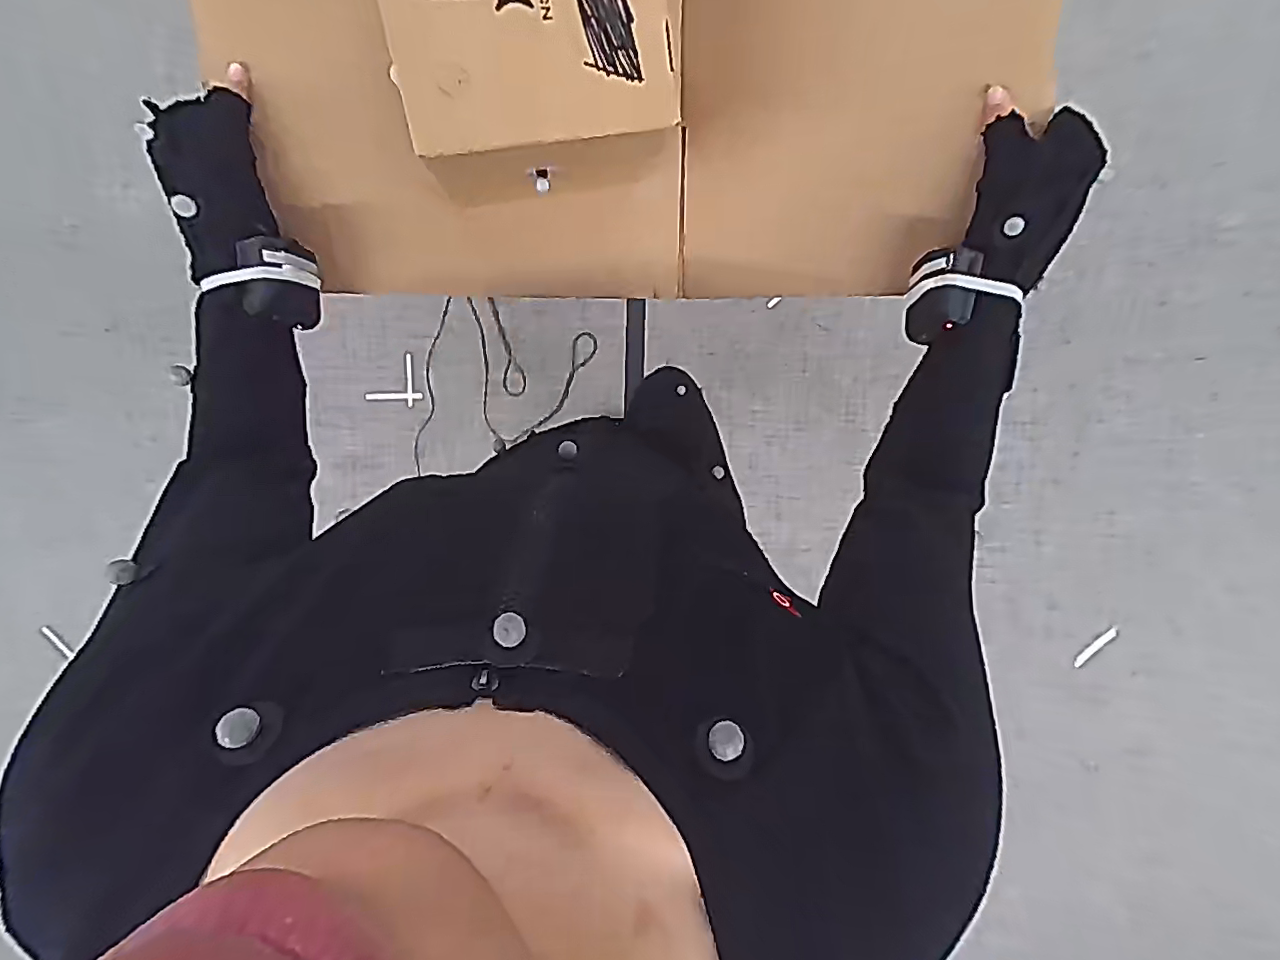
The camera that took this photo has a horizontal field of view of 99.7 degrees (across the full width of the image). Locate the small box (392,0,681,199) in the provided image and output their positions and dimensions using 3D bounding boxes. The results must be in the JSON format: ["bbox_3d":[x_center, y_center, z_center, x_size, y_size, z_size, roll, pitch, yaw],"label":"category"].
[{"bbox_3d":[-0.081,-0.328,0.412,0.179,0.176,0.168,-11,108,-7],"label":"small box"}]
